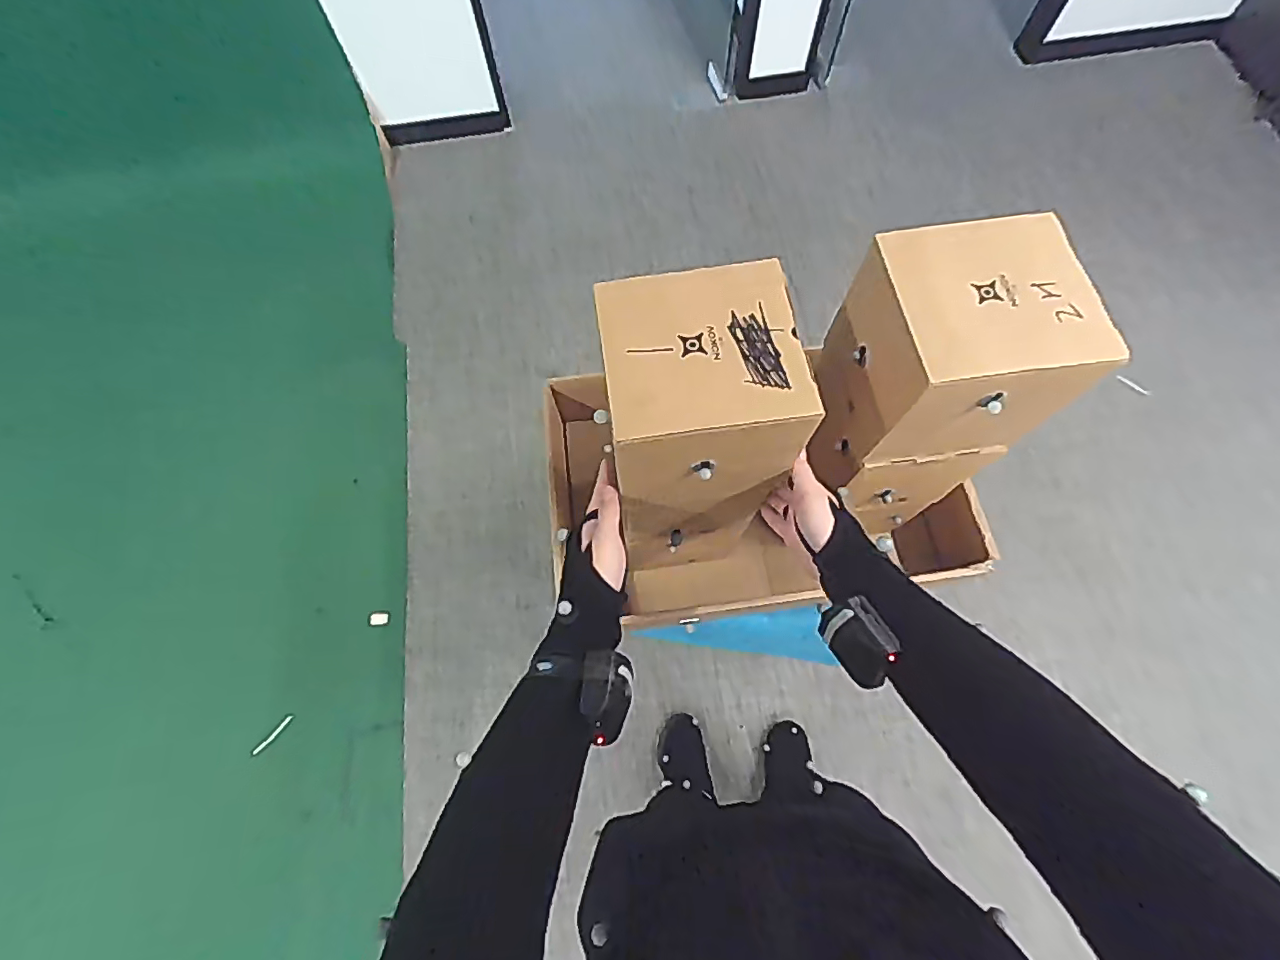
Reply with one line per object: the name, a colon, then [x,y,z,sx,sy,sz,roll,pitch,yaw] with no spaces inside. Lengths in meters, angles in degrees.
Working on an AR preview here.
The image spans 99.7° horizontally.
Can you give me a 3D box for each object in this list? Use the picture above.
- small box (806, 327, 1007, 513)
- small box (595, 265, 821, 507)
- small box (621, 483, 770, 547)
small box: [0.321,-0.071,0.704,0.168,0.176,0.179,-7,68,-1]
small box: [0.055,-0.083,0.542,0.179,0.176,0.168,-8,67,-1]
small box: [0.054,-0.027,0.695,0.168,0.176,0.179,-7,68,-2]
